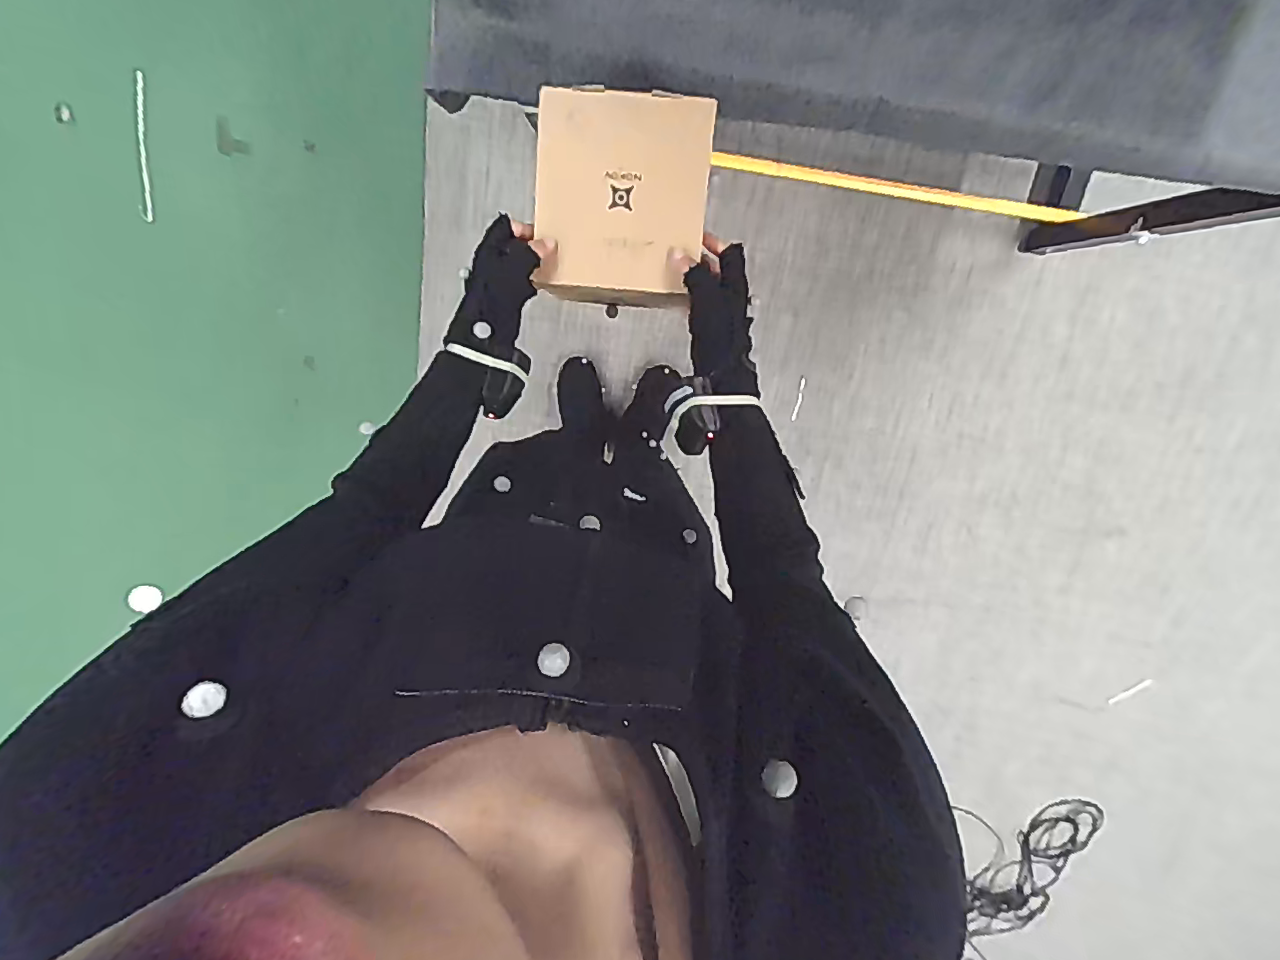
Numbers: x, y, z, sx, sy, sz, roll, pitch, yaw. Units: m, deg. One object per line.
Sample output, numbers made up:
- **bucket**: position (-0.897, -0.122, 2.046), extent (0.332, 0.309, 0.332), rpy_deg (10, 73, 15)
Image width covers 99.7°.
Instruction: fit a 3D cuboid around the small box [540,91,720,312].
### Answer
- **small box**: position (-0.010, -0.292, 0.604), extent (0.168, 0.176, 0.179), rpy_deg (5, 103, 2)
